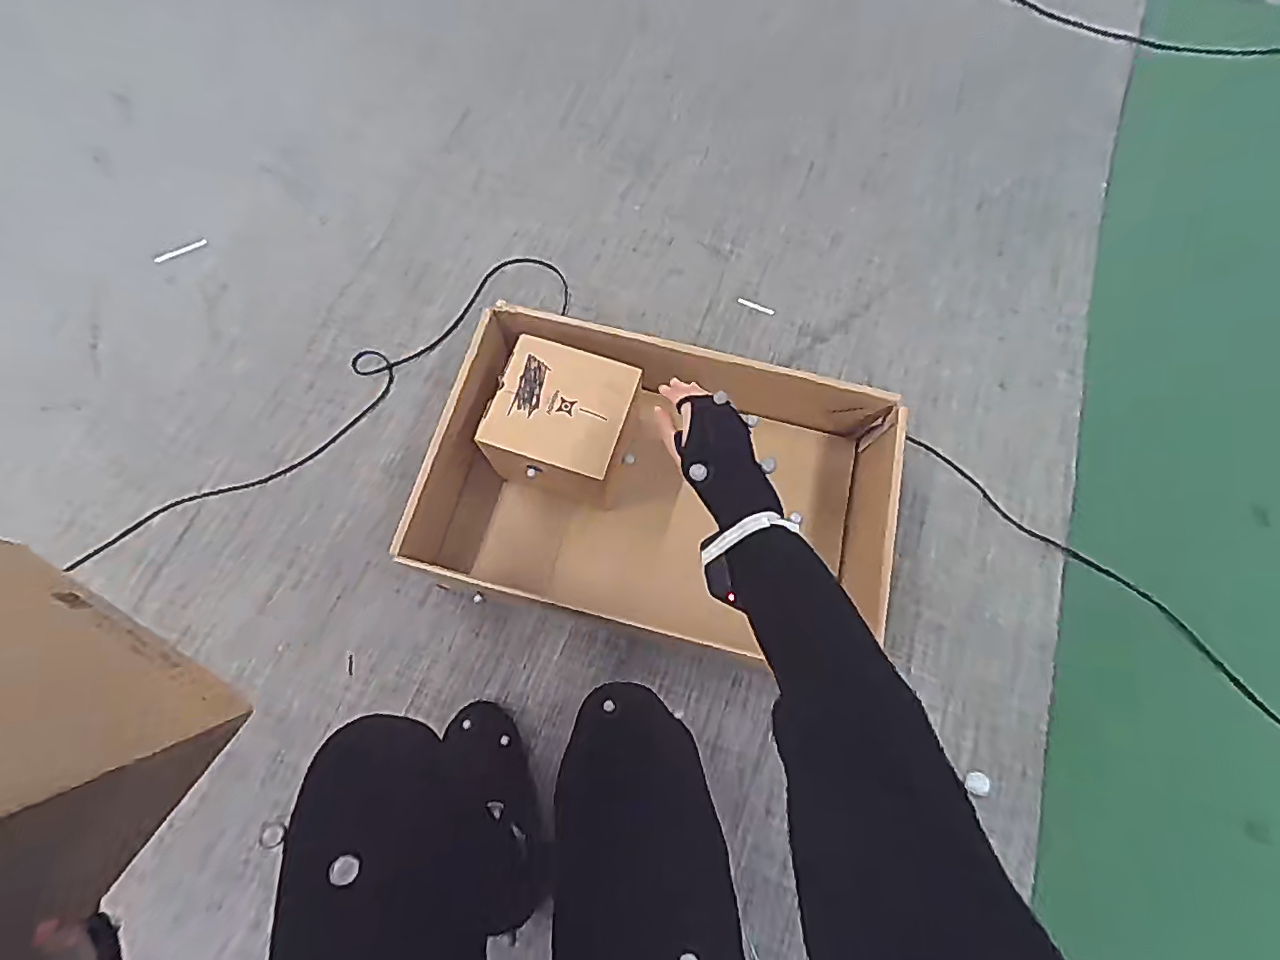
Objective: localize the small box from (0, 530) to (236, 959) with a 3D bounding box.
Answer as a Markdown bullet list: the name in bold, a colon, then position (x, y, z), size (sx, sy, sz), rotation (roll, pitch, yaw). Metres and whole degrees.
- **small box**: position (-0.307, 0.124, 0.193), size (0.168, 0.176, 0.179), rotation (36, 76, -2)
